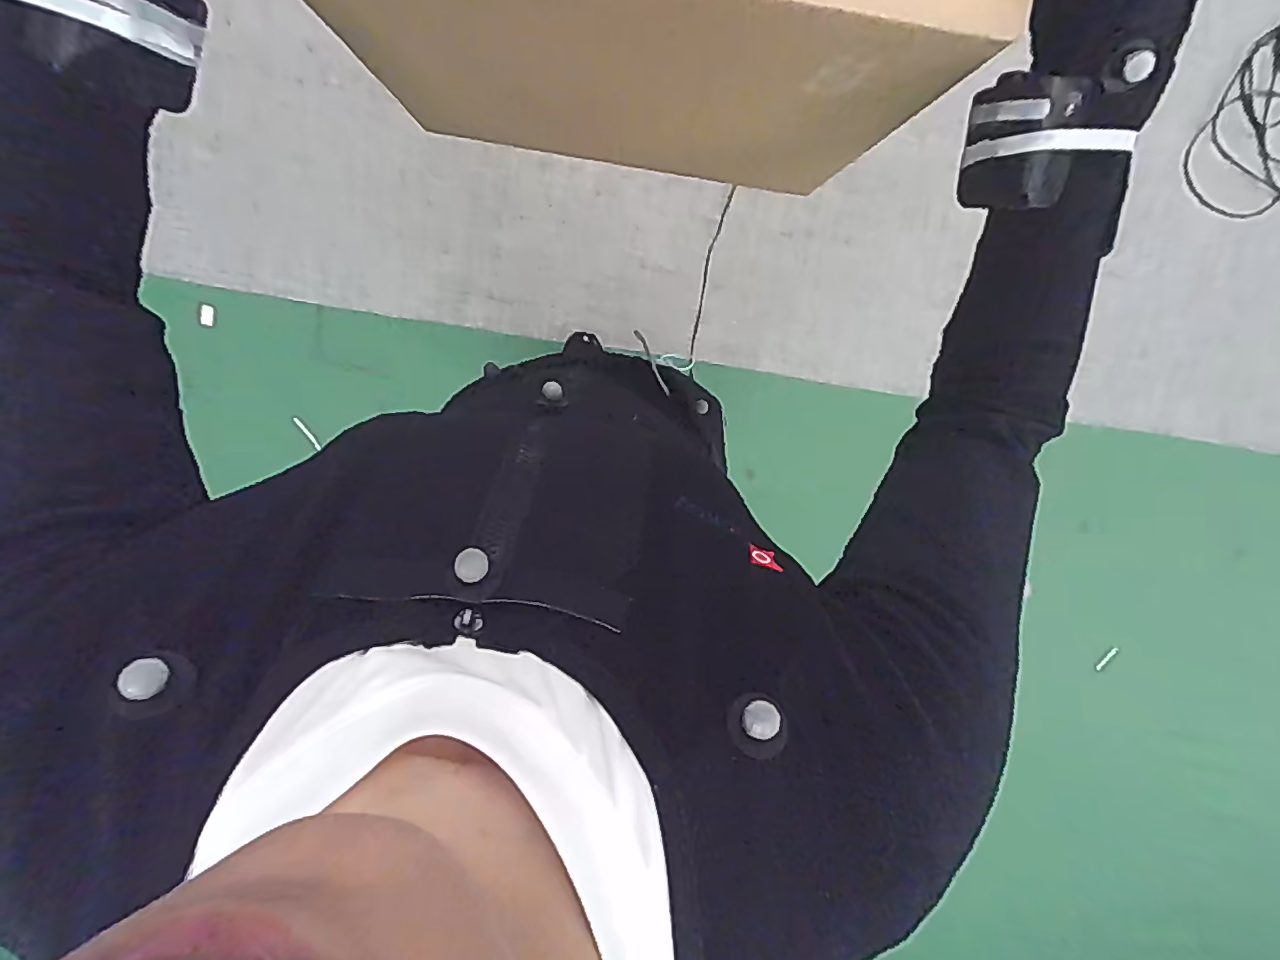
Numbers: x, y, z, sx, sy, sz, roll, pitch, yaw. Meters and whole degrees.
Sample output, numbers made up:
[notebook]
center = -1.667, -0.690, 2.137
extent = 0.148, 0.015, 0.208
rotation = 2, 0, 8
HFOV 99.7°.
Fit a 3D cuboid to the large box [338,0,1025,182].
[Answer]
[large box]
center = 0.014, -0.443, 0.379
extent = 0.408, 0.320, 0.320
rotation = 6, 105, -5
